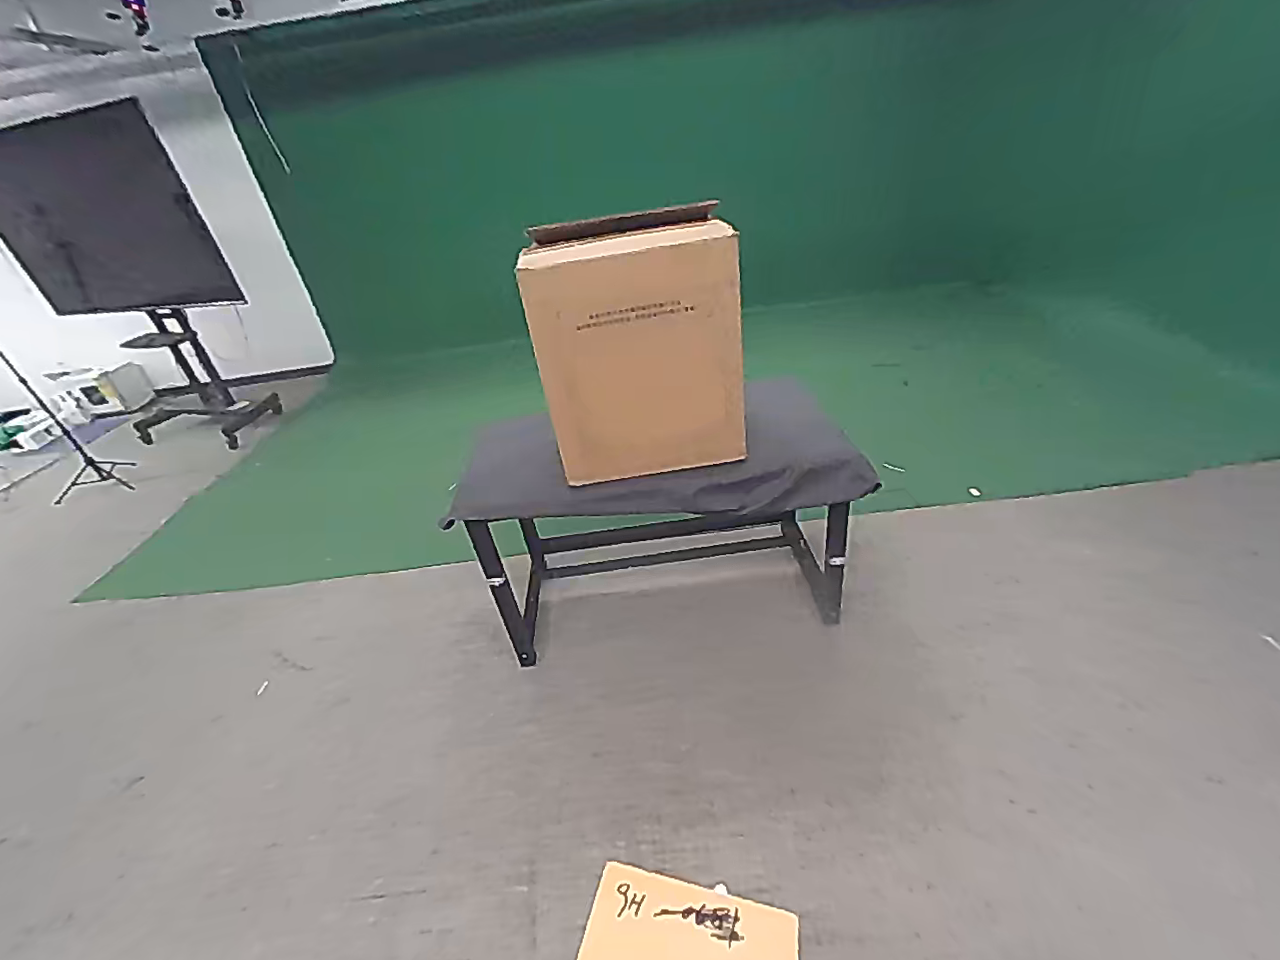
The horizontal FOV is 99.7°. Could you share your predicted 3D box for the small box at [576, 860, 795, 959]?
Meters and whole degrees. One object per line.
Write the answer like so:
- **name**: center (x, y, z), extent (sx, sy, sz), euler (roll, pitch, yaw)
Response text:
- **small box**: center (0.029, 0.455, 0.427), extent (0.168, 0.176, 0.179), euler (6, 30, 13)
